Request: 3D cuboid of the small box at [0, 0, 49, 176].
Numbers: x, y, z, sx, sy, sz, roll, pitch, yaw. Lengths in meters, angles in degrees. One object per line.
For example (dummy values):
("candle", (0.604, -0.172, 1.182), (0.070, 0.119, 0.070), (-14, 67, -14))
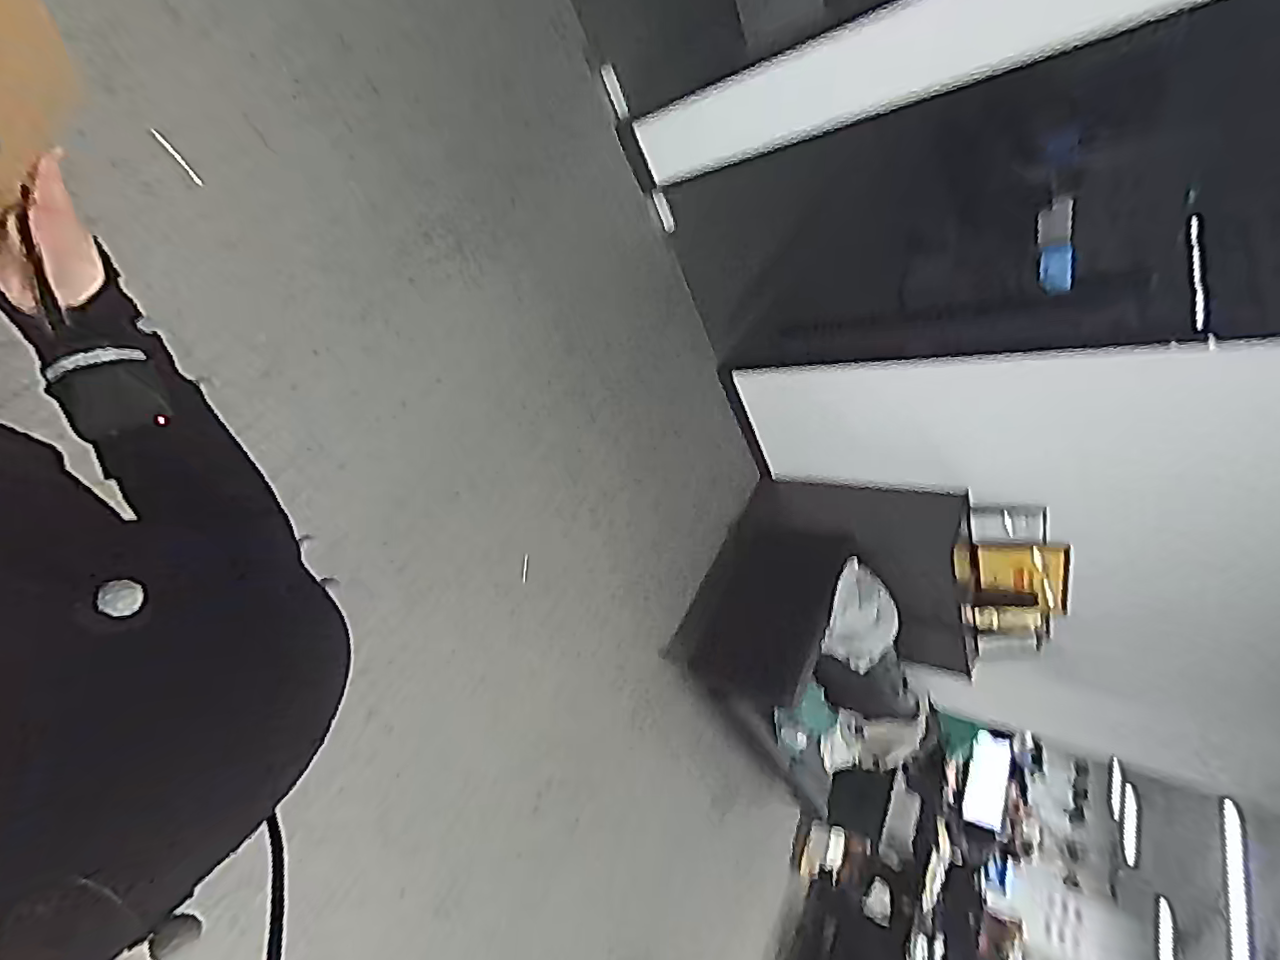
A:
("small box", (-0.443, -0.237, 0.255), (0.168, 0.176, 0.179), (25, 79, -33))
